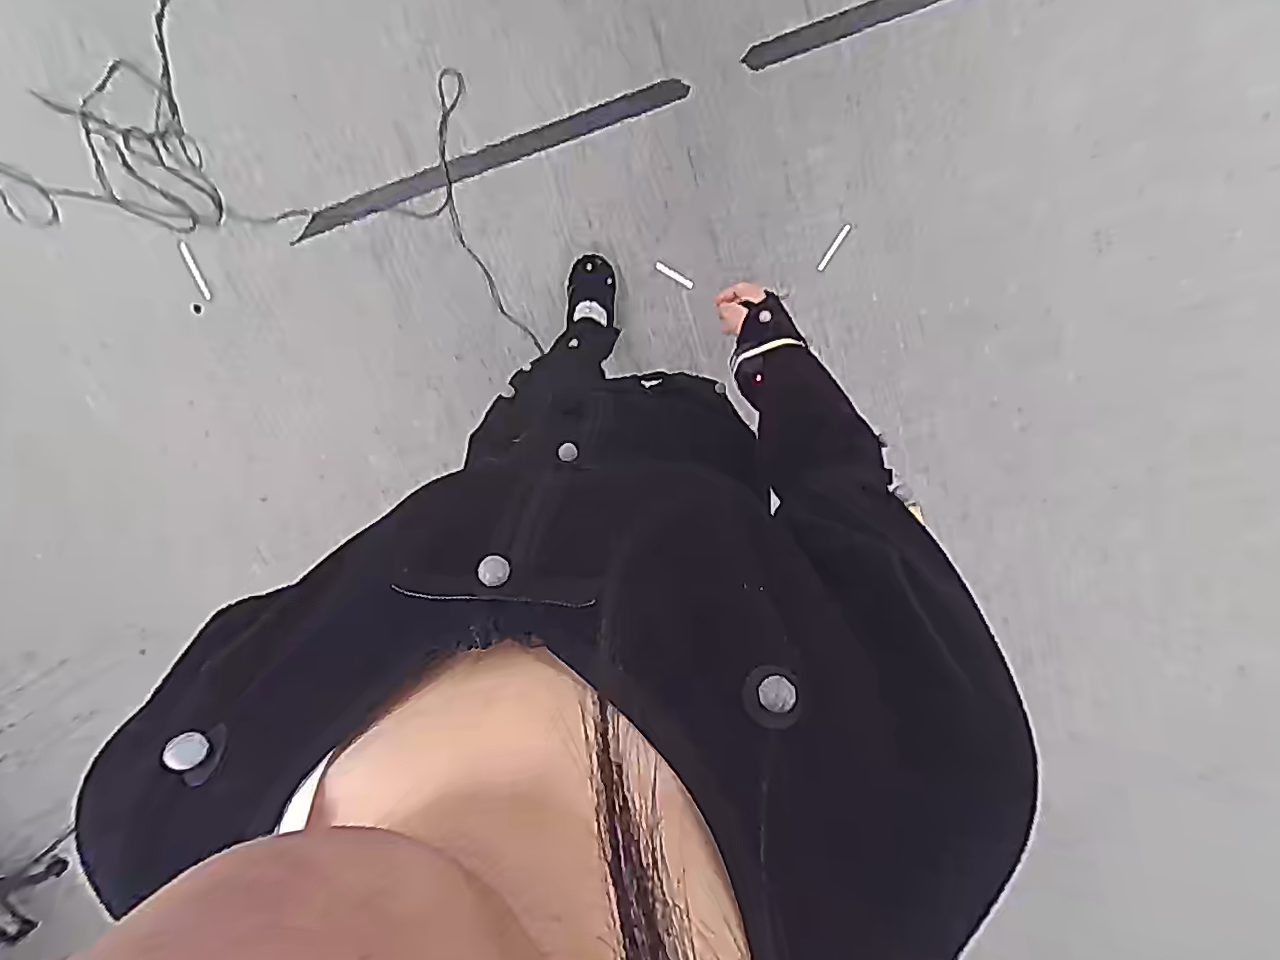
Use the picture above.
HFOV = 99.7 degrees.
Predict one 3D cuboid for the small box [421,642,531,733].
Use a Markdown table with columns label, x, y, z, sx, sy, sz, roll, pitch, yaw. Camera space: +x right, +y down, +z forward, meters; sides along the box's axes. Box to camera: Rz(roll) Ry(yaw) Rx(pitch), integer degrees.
| label | x | y | z | sx | sy | sz | roll | pitch | yaw |
| --- | --- | --- | --- | --- | --- | --- | --- | --- | --- |
| small box | -0.371 | 0.517 | 1.255 | 0.168 | 0.176 | 0.179 | 29 | 104 | -7 |
